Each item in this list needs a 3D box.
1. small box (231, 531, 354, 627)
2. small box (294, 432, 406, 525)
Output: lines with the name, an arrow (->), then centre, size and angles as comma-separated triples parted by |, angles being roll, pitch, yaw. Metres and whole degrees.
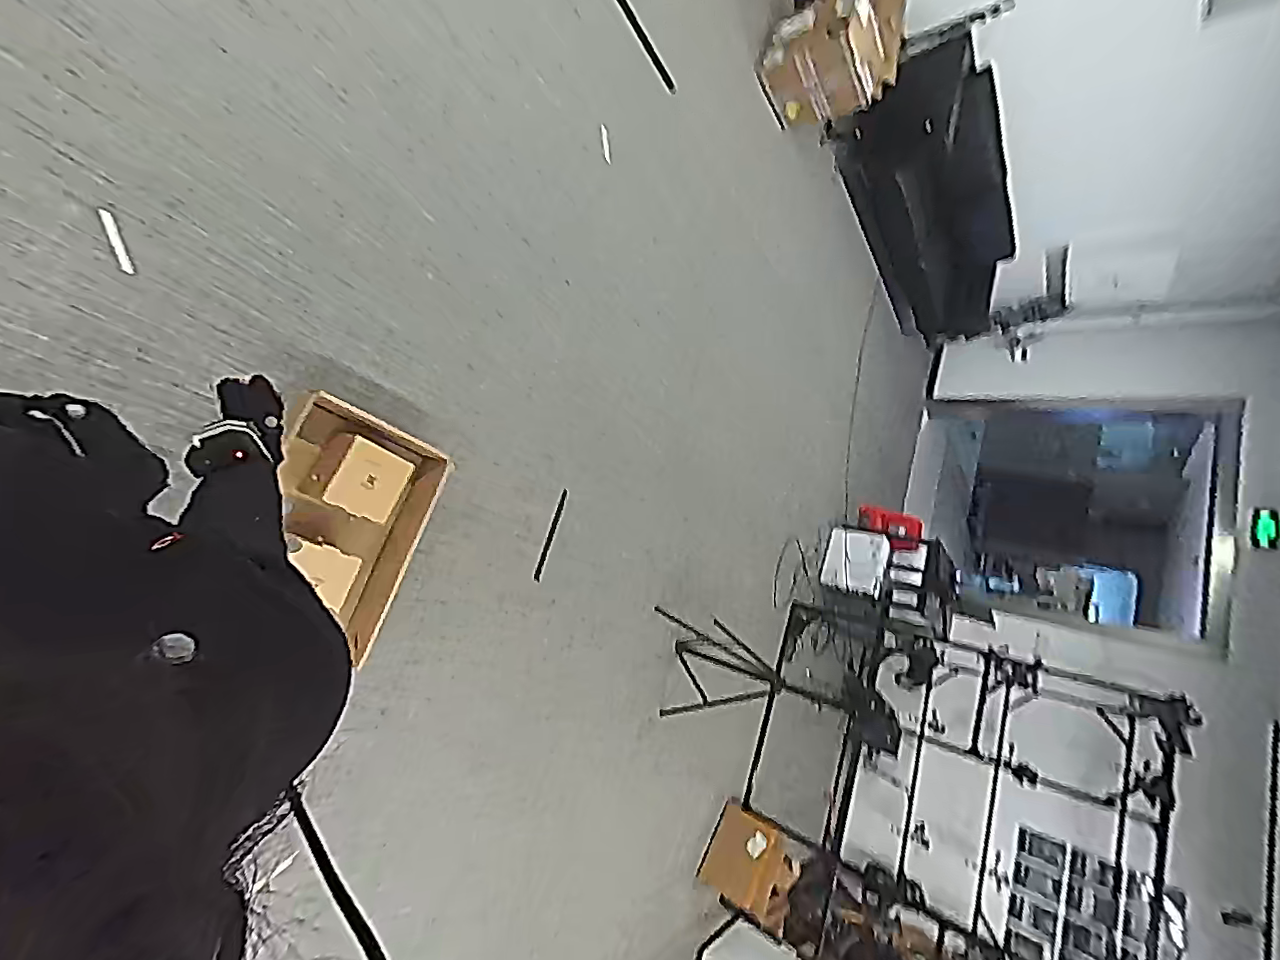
small box -> -0.837, 0.233, 1.299 | 0.168, 0.176, 0.179 | 37, 65, -46
small box -> -0.742, -0.007, 1.375 | 0.168, 0.176, 0.179 | 40, 65, -46
